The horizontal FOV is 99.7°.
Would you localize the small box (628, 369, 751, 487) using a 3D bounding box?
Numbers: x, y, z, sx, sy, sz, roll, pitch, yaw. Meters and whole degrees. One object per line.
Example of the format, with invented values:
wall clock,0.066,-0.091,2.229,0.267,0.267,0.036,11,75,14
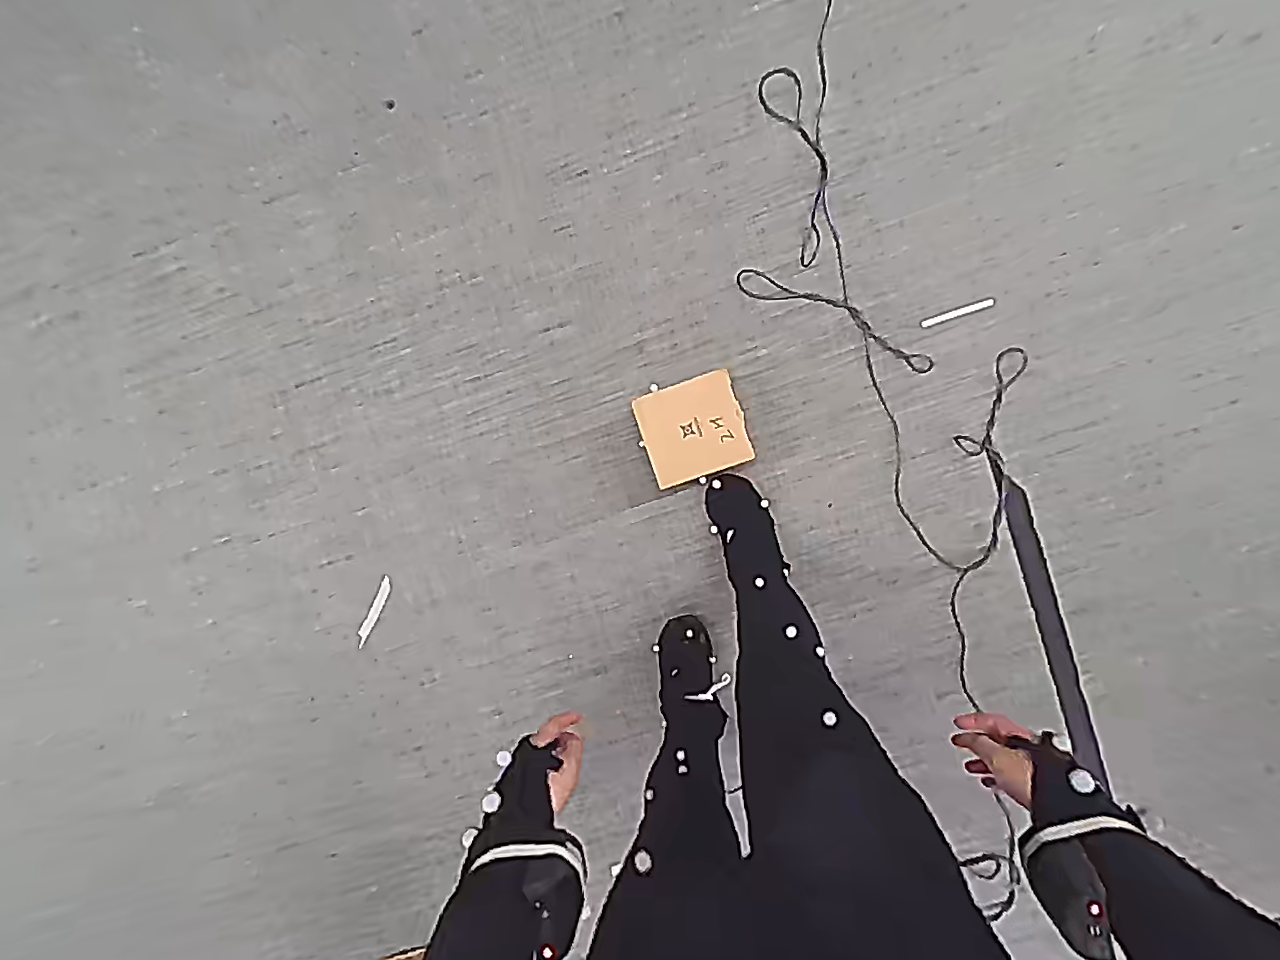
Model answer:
small box,0.091,-0.092,1.004,0.179,0.176,0.168,-18,93,5
